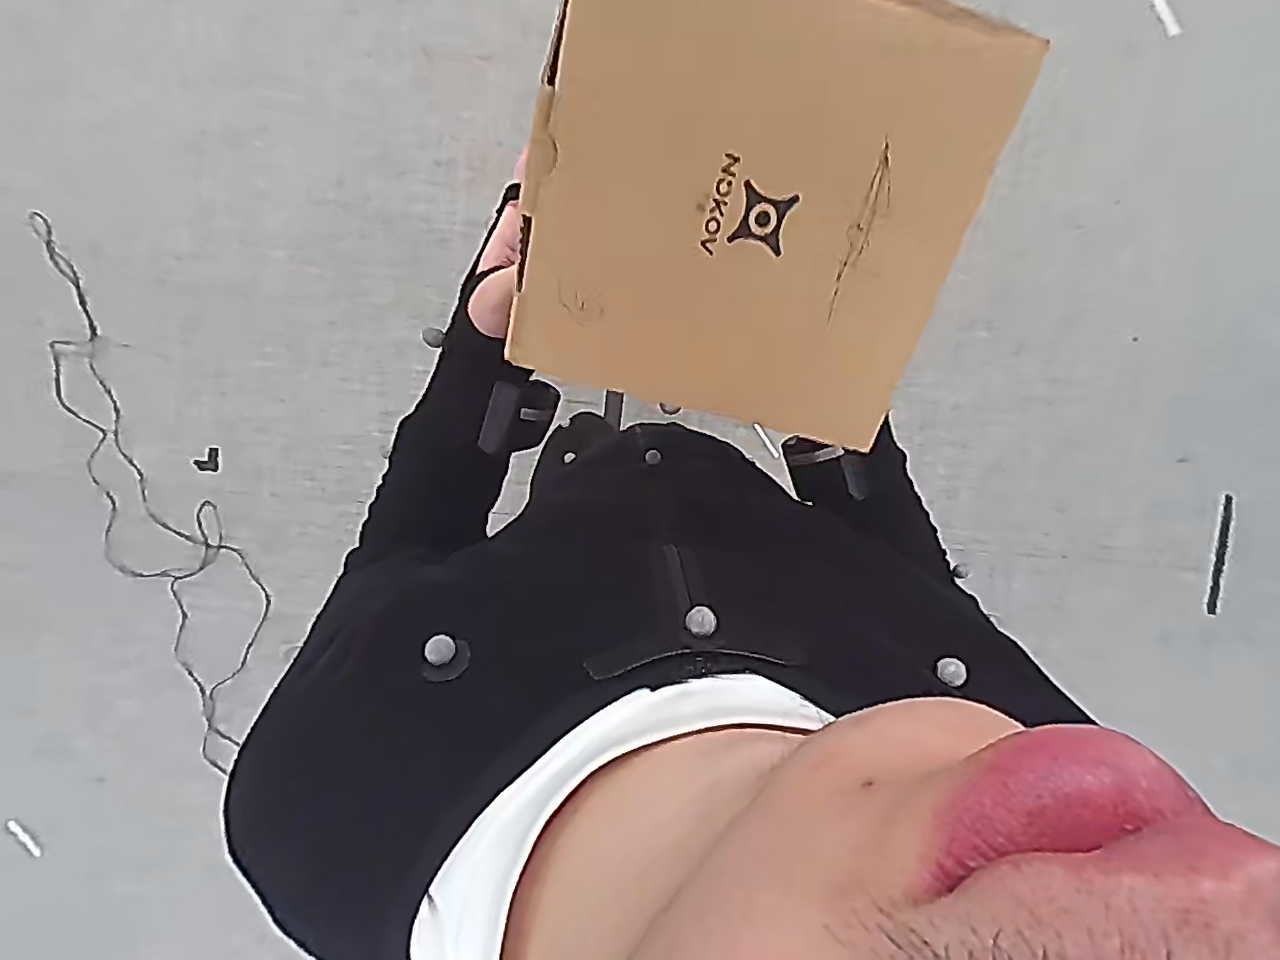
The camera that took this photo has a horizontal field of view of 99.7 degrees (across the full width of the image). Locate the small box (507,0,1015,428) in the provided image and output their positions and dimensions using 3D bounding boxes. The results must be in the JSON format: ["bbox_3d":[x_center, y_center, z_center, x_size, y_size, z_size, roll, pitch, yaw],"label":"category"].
[{"bbox_3d":[0.040,-0.146,0.300,0.179,0.176,0.168,12,112,-8],"label":"small box"}]
